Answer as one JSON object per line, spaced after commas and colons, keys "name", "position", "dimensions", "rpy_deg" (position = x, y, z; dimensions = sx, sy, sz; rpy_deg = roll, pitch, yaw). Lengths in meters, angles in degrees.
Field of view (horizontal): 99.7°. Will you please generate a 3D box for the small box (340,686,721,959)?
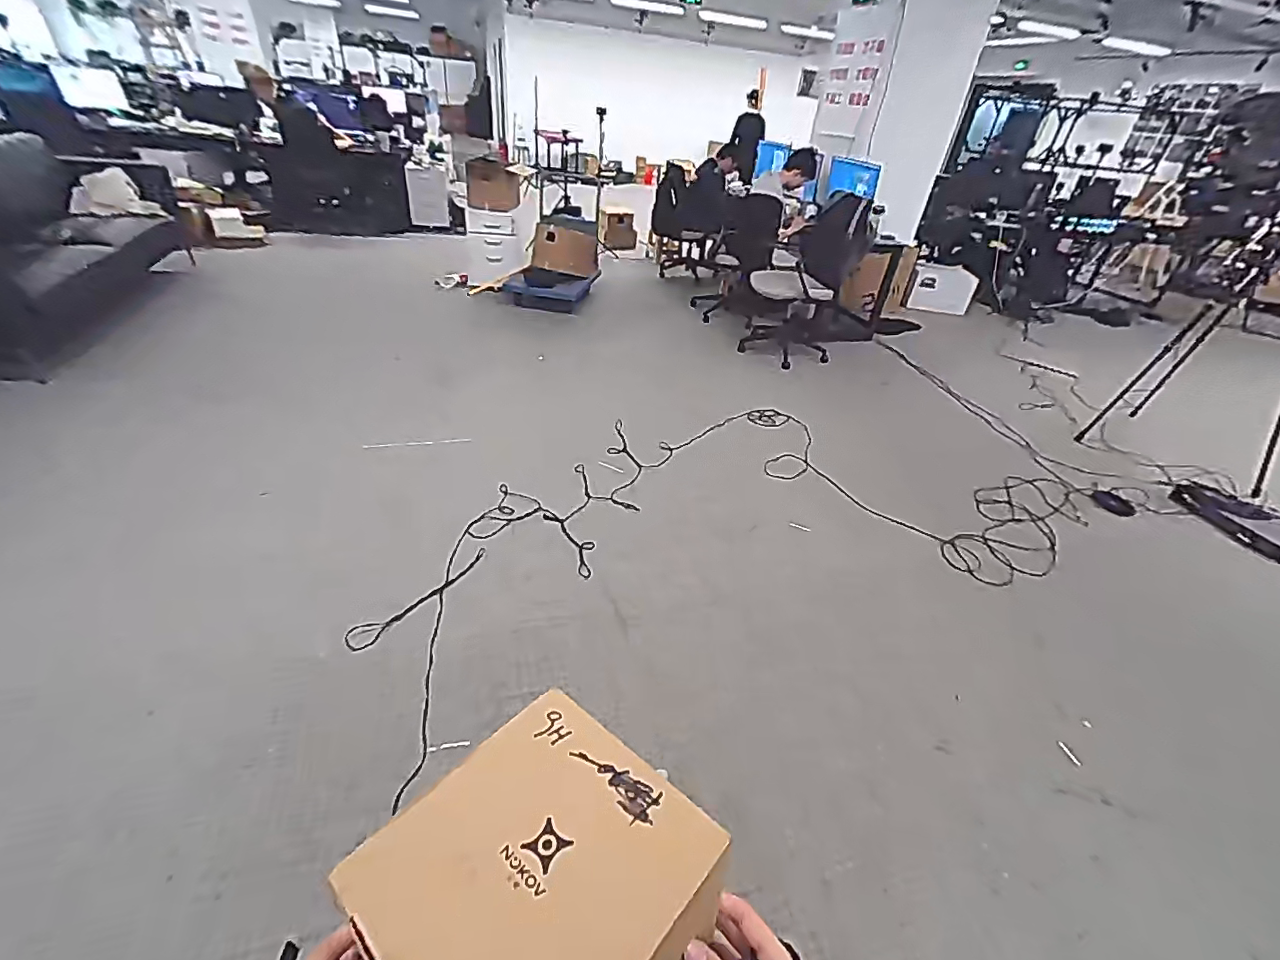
{"name": "small box", "position": [-0.062, 0.292, 0.370], "dimensions": [0.168, 0.176, 0.179], "rpy_deg": [24, 39, 34]}
